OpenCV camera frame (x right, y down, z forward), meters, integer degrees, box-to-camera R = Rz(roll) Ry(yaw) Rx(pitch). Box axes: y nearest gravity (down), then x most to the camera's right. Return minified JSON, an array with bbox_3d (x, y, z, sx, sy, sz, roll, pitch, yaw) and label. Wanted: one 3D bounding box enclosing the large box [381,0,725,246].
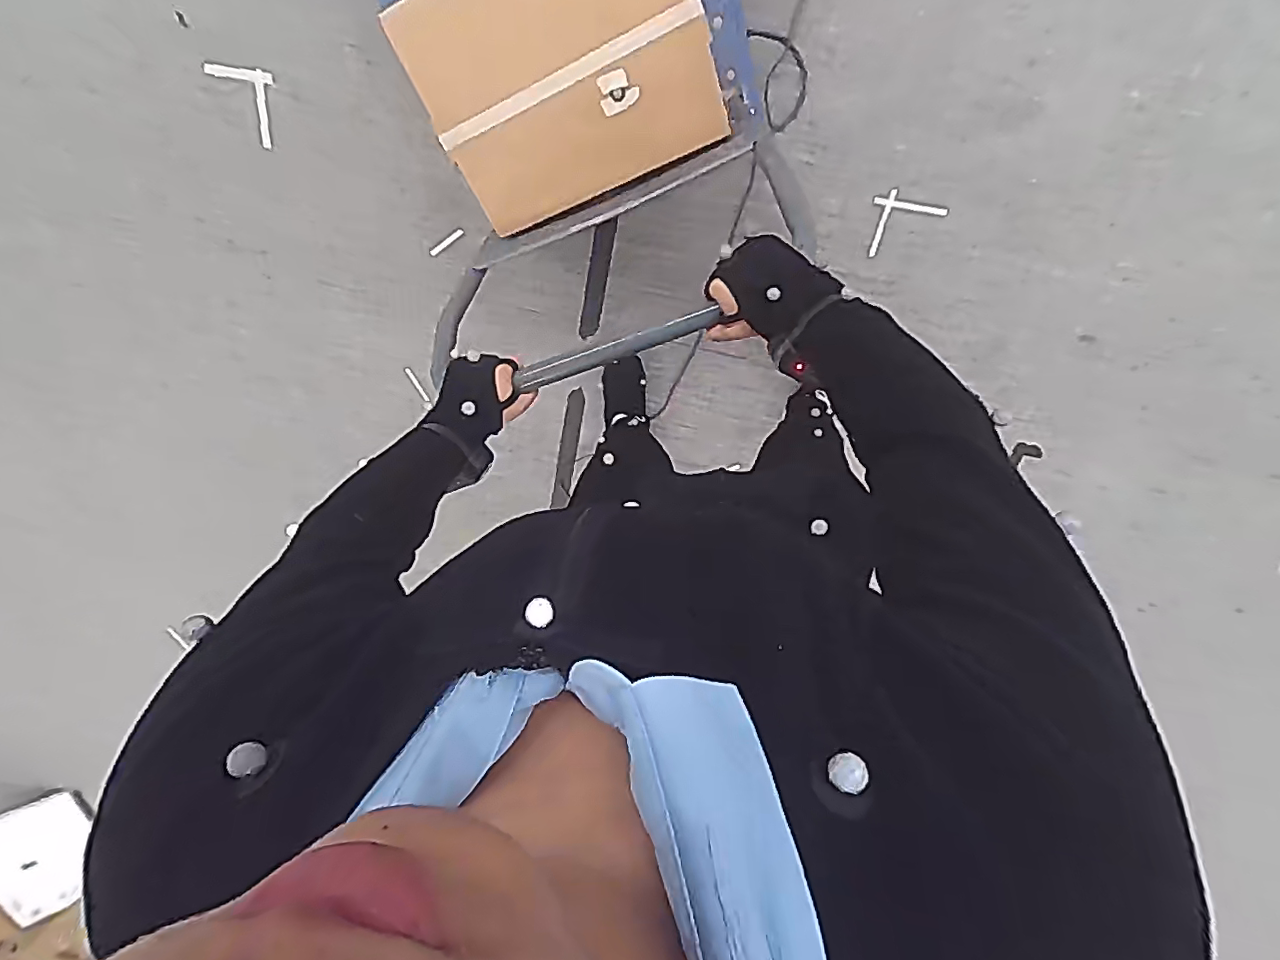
[{"bbox_3d":[-0.111,-0.649,0.875,0.408,0.320,0.320,-17,128,16],"label":"large box"}]
